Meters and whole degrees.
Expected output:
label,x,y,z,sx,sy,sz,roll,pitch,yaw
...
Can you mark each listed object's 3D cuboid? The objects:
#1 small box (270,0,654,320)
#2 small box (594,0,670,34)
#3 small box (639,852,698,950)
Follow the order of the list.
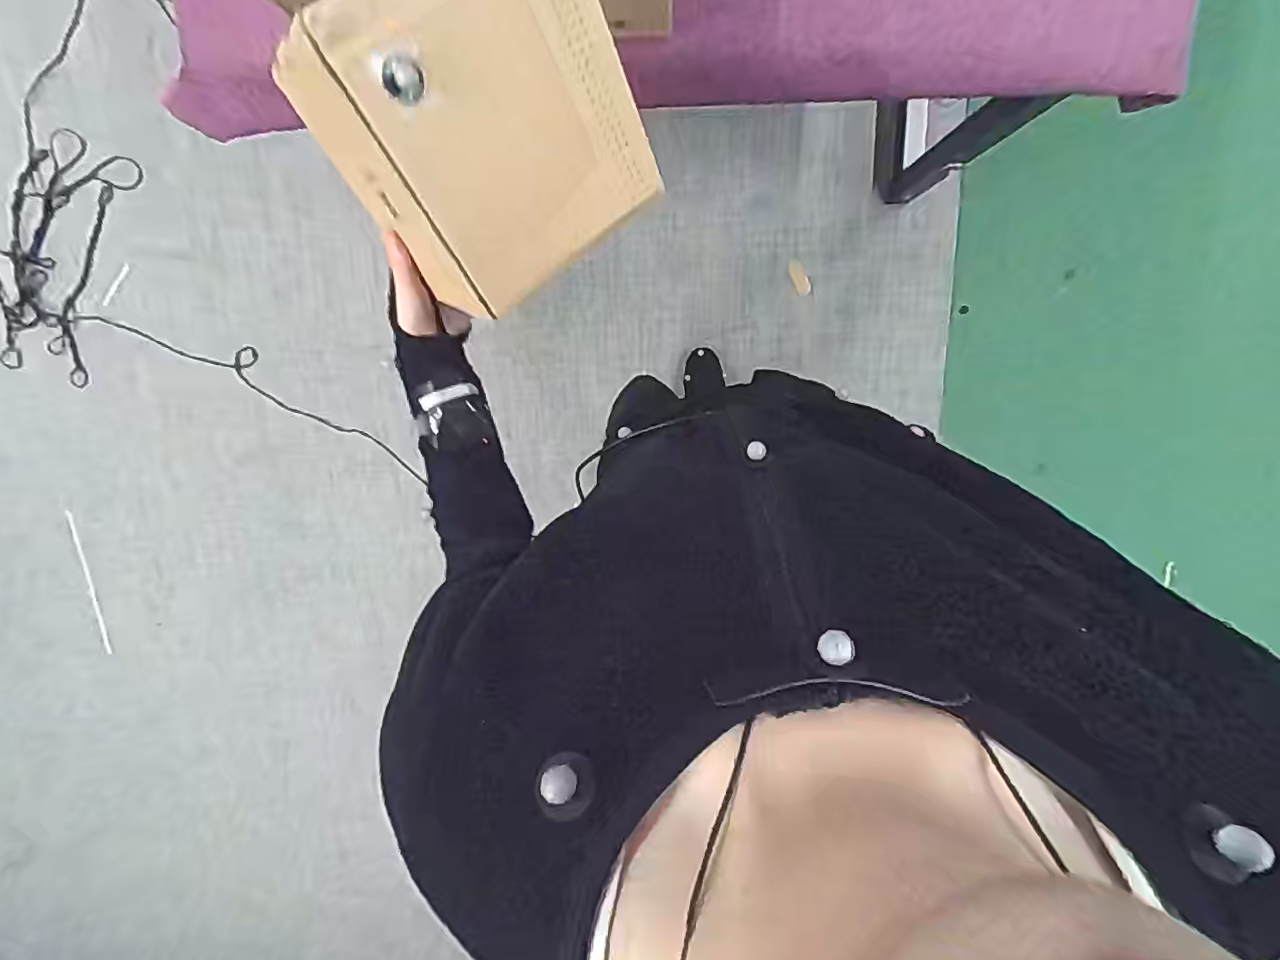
label,x,y,z,sx,sy,sz,roll,pitch,yaw
small box,-0.118,-0.247,0.385,0.176,0.168,0.179,-42,131,-13
small box,-0.049,-0.604,0.550,0.168,0.176,0.179,1,101,3
small box,0.087,1.297,1.676,0.168,0.176,0.179,4,102,3
